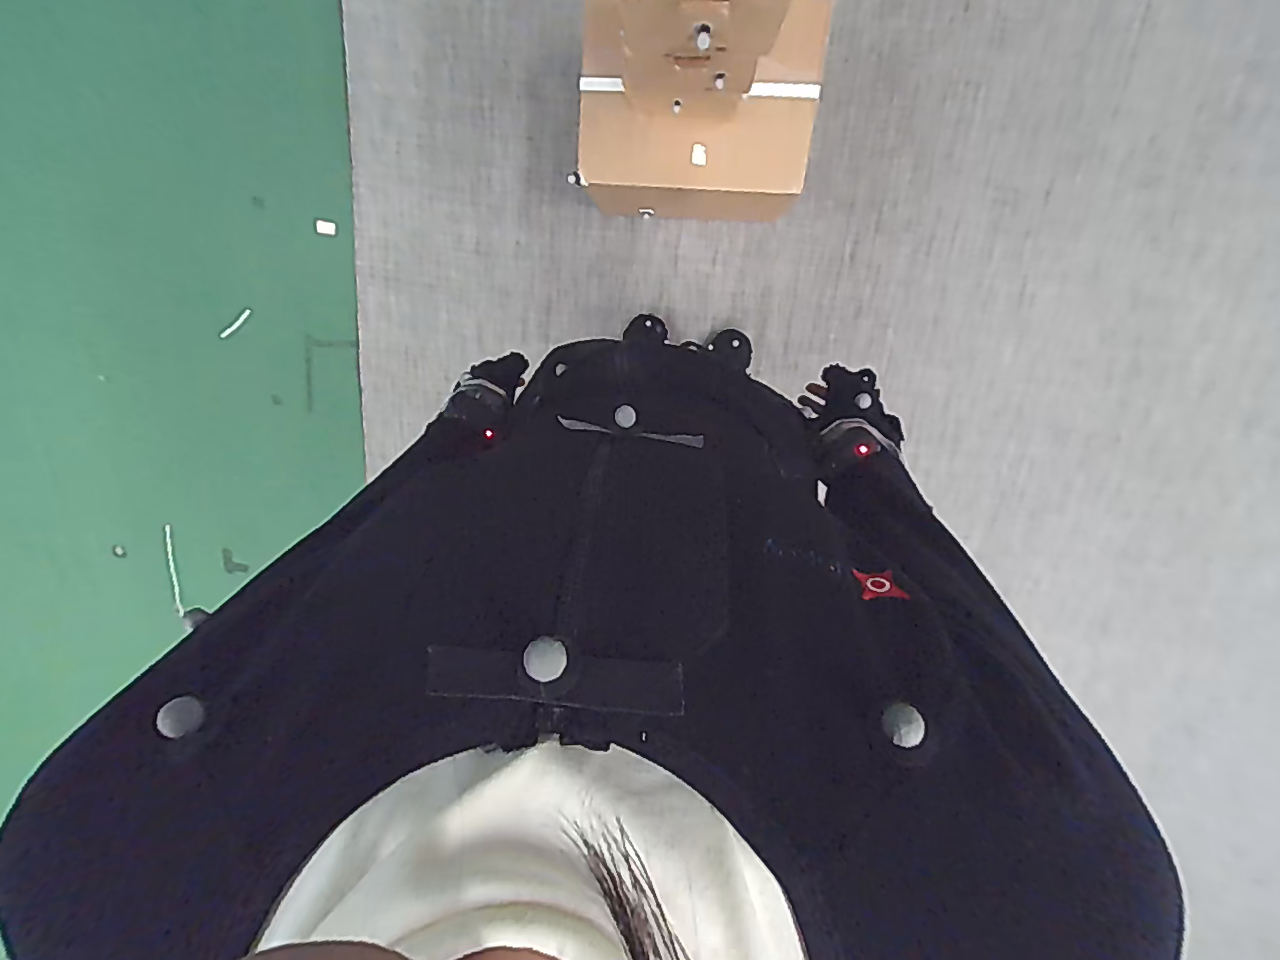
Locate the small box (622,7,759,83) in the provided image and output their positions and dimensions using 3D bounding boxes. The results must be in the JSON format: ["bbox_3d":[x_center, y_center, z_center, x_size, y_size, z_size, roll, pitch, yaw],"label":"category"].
[{"bbox_3d":[0.070,-0.619,0.674,0.168,0.176,0.179,3,113,5],"label":"small box"}]

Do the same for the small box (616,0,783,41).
[{"bbox_3d":[0.066,-0.554,0.524,0.168,0.176,0.179,3,114,5],"label":"small box"}]

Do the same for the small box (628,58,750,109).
[{"bbox_3d":[0.081,-0.681,0.824,0.179,0.176,0.168,5,114,4],"label":"small box"}]
